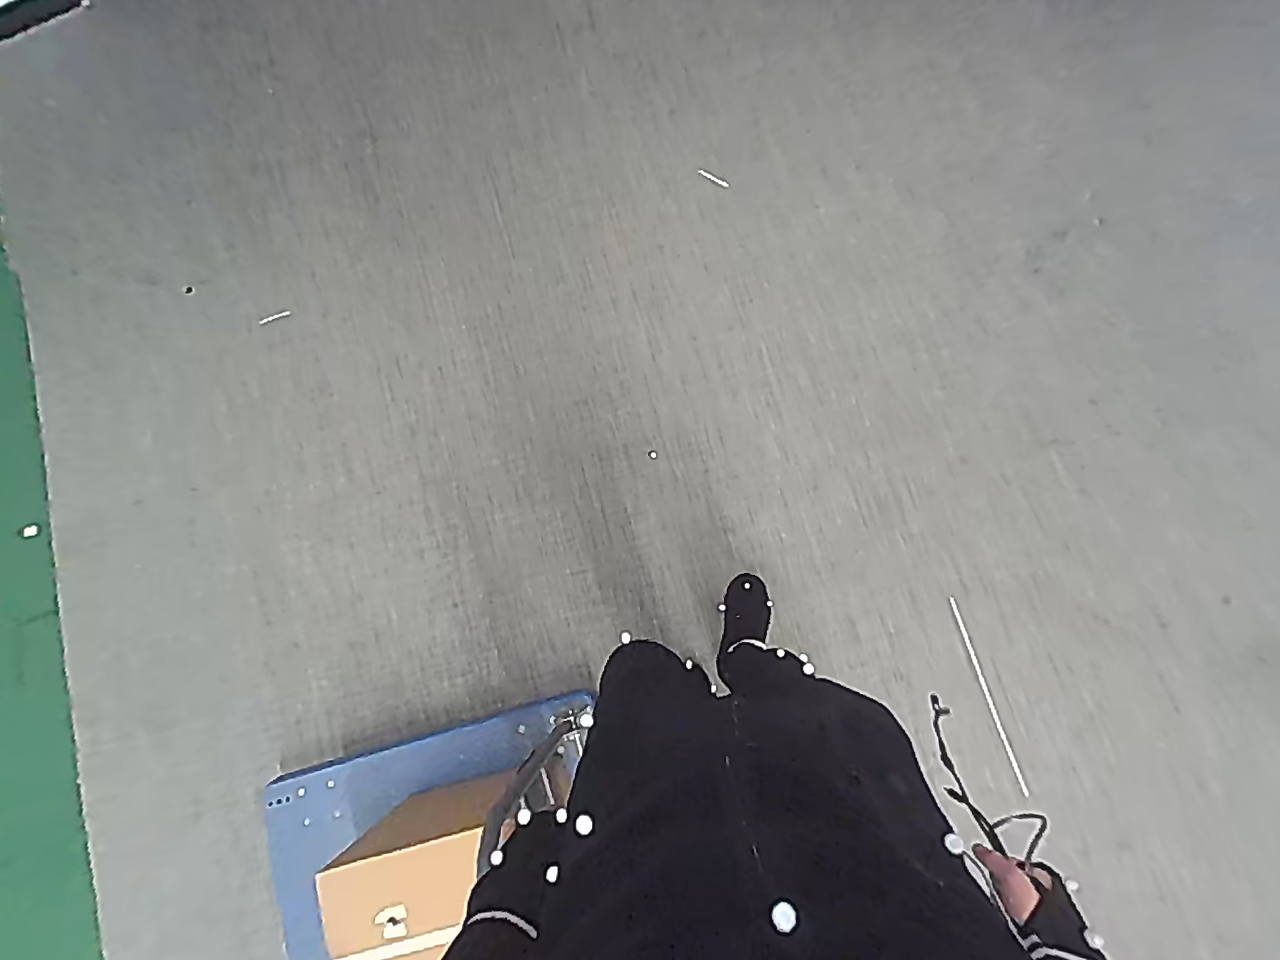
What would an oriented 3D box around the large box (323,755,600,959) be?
[{"bbox_3d":[-0.337,0.823,1.106,0.408,0.320,0.320,-18,81,6],"label":"large box"}]
